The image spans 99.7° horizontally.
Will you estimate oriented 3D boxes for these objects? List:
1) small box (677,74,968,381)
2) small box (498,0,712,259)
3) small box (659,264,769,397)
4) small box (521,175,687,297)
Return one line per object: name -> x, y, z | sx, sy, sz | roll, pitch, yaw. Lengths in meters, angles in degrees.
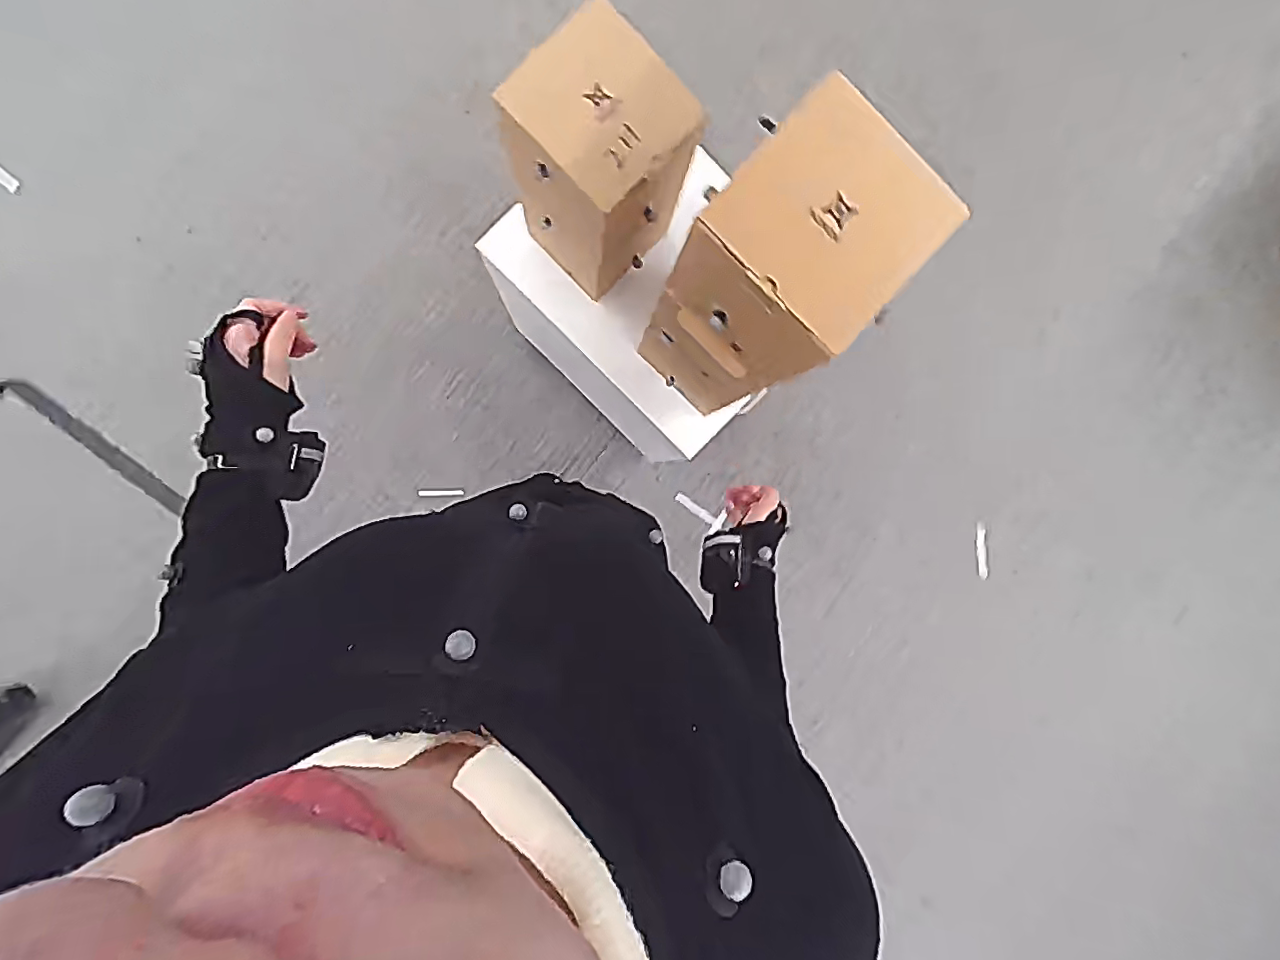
small box -> 0.155, -0.220, 0.525 | 0.168, 0.176, 0.179 | 43, 88, -5
small box -> -0.044, -0.410, 0.662 | 0.168, 0.176, 0.179 | -45, 96, -2
small box -> 0.139, -0.226, 0.687 | 0.168, 0.176, 0.179 | 43, 87, -5
small box -> -0.058, -0.417, 0.826 | 0.179, 0.176, 0.168 | -44, 95, -4
